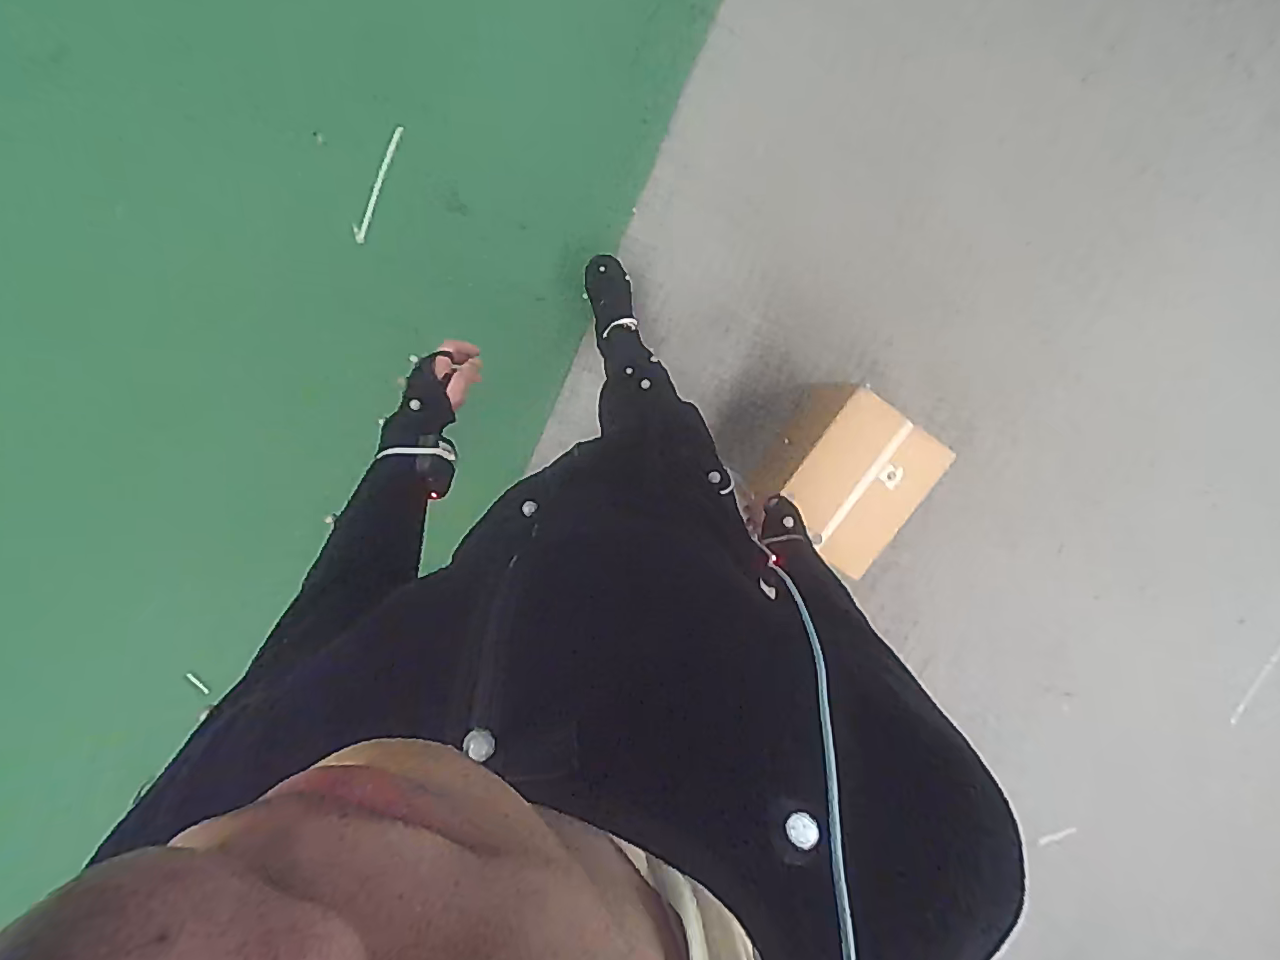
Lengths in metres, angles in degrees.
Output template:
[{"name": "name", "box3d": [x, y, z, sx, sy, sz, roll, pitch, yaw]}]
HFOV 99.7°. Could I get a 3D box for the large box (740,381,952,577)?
[{"name": "large box", "box3d": [0.534, -0.017, 1.488, 0.320, 0.320, 0.408, 34, 97, -8]}]
